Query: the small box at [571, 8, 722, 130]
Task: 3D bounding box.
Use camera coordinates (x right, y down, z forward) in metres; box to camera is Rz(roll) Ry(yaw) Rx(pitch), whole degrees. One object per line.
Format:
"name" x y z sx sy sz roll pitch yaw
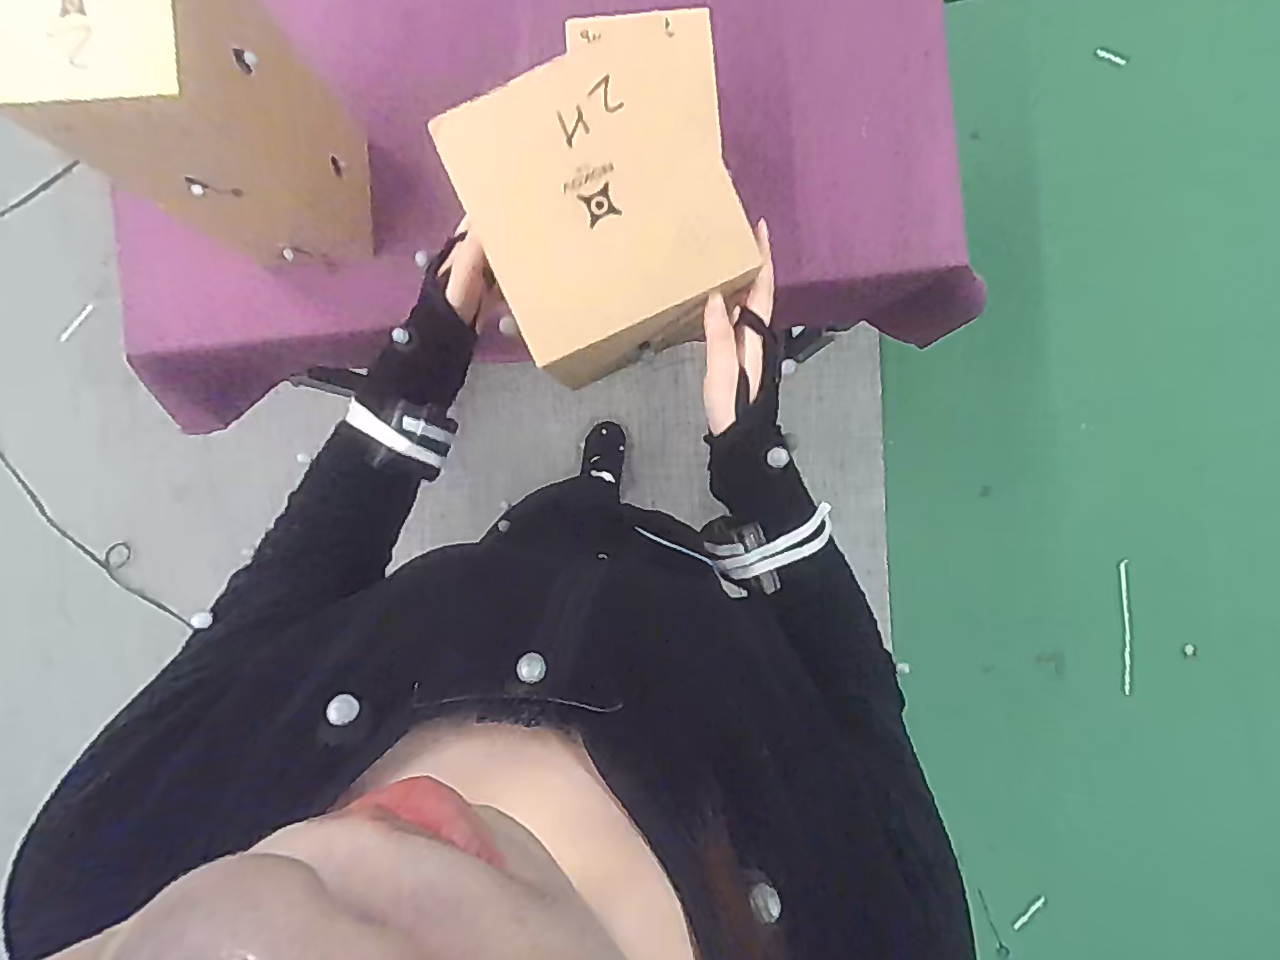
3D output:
"small box" 0.009 -0.439 0.686 0.168 0.176 0.179 -4 91 -1

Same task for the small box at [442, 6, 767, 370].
"small box" -0.020 -0.198 0.431 0.168 0.176 0.179 -23 94 2
